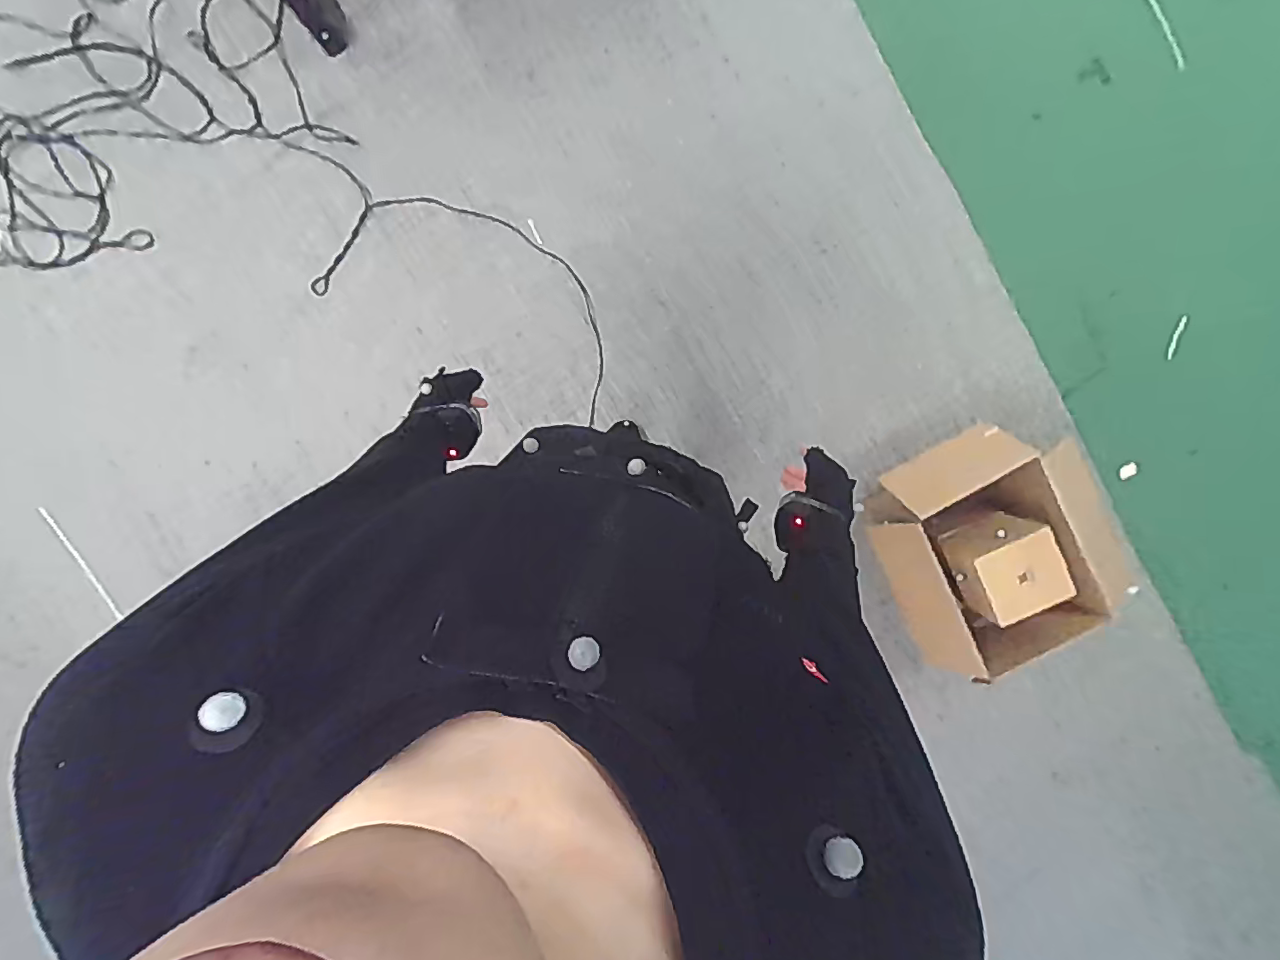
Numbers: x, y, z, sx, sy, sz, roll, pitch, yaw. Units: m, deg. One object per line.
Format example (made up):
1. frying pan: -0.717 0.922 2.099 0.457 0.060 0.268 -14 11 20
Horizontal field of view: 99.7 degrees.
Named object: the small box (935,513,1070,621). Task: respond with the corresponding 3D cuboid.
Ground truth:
1. small box: 0.810 0.191 1.233 0.179 0.176 0.168 -26 95 2
